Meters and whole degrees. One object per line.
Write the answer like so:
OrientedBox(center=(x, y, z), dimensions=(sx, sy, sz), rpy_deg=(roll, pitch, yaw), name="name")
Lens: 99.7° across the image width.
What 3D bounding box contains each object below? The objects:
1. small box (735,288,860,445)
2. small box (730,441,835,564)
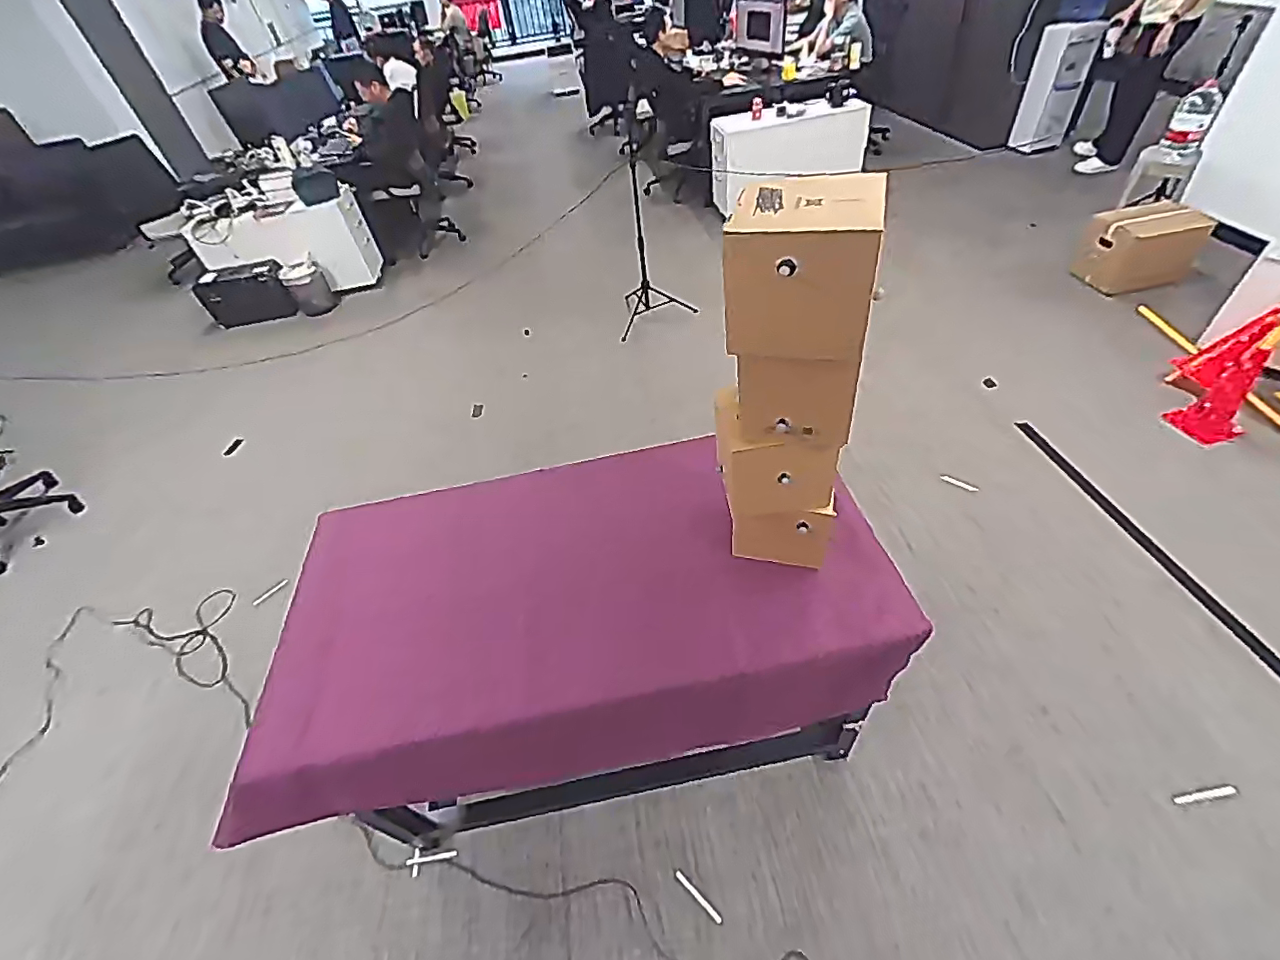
OrientedBox(center=(0.237, -0.176, 0.831), dimensions=(0.168, 0.176, 0.179), rpy_deg=(3, 48, 15), name="small box")
OrientedBox(center=(0.279, 0.047, 1.069), dimensions=(0.179, 0.176, 0.168), rpy_deg=(7, 48, 16), name="small box")
